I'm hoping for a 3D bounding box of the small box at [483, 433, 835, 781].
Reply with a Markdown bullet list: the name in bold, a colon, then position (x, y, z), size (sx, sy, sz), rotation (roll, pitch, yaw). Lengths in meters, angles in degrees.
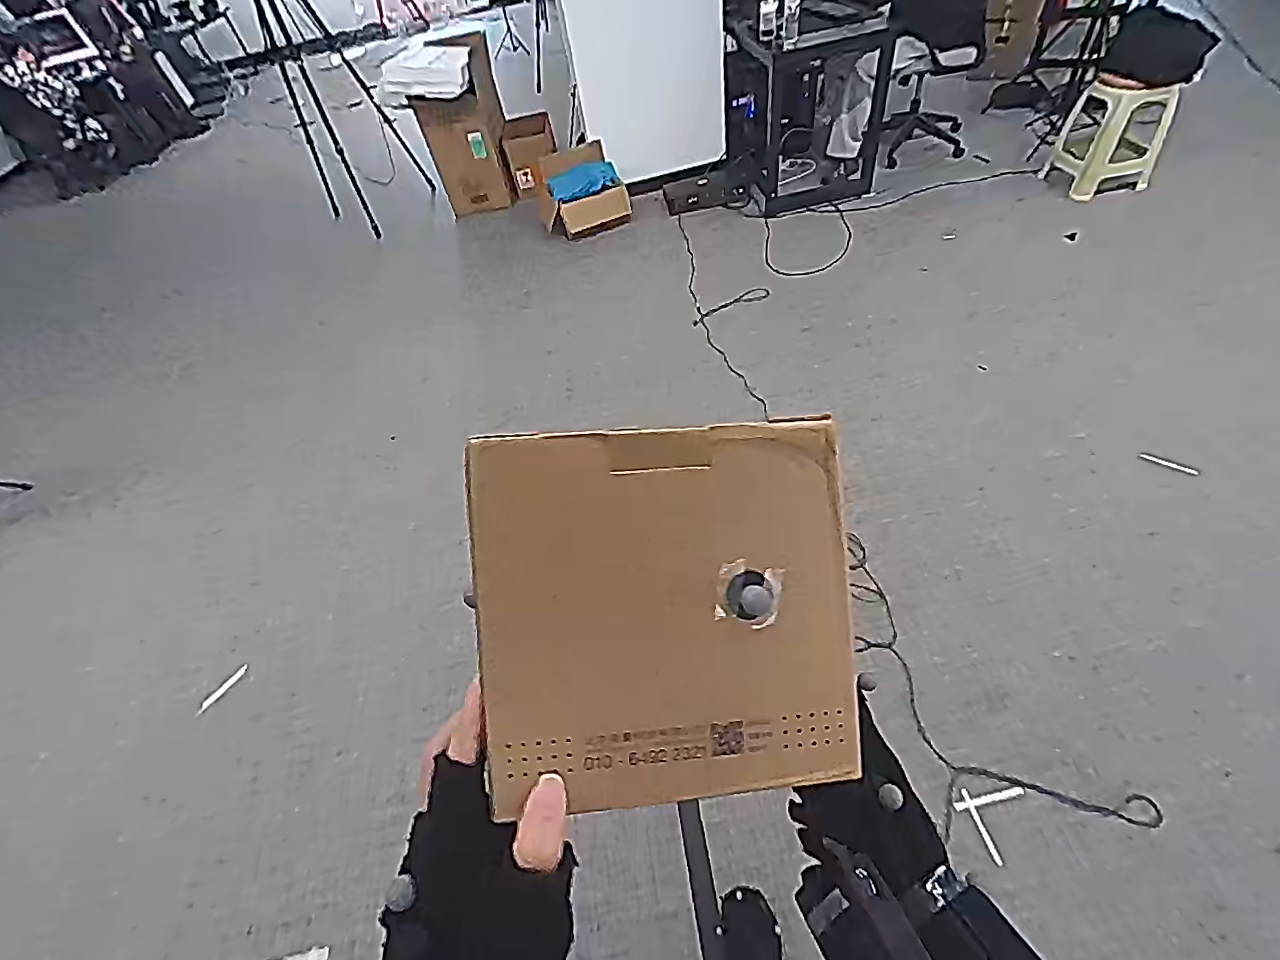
- **small box**: position (0.010, 0.066, 0.339), size (0.168, 0.179, 0.176), rotation (-4, 91, -3)
